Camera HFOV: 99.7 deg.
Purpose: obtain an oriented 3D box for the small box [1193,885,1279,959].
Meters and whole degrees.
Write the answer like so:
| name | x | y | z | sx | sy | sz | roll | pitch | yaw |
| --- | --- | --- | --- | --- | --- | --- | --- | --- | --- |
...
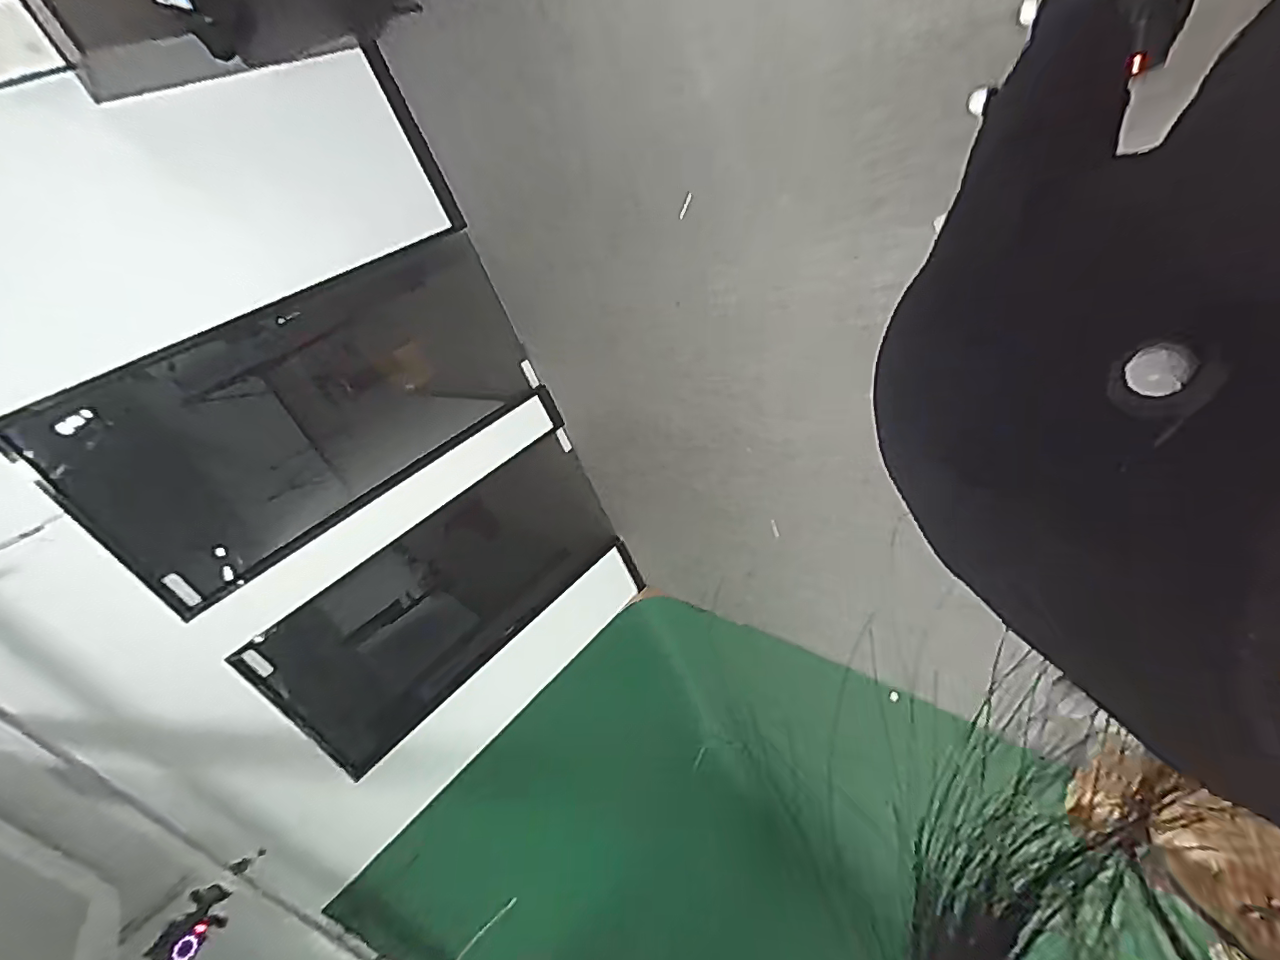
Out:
| name | x | y | z | sx | sy | sz | roll | pitch | yaw |
| --- | --- | --- | --- | --- | --- | --- | --- | --- | --- |
| small box | 1.748 | 1.335 | 1.568 | 0.168 | 0.176 | 0.179 | 15 | 136 | 48 |

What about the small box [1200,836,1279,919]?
| name | x | y | z | sx | sy | sz | roll | pitch | yaw |
| --- | --- | --- | --- | --- | --- | --- | --- | --- | --- |
| small box | 1.859 | 1.252 | 1.657 | 0.168 | 0.176 | 0.179 | 12 | 133 | 48 |
